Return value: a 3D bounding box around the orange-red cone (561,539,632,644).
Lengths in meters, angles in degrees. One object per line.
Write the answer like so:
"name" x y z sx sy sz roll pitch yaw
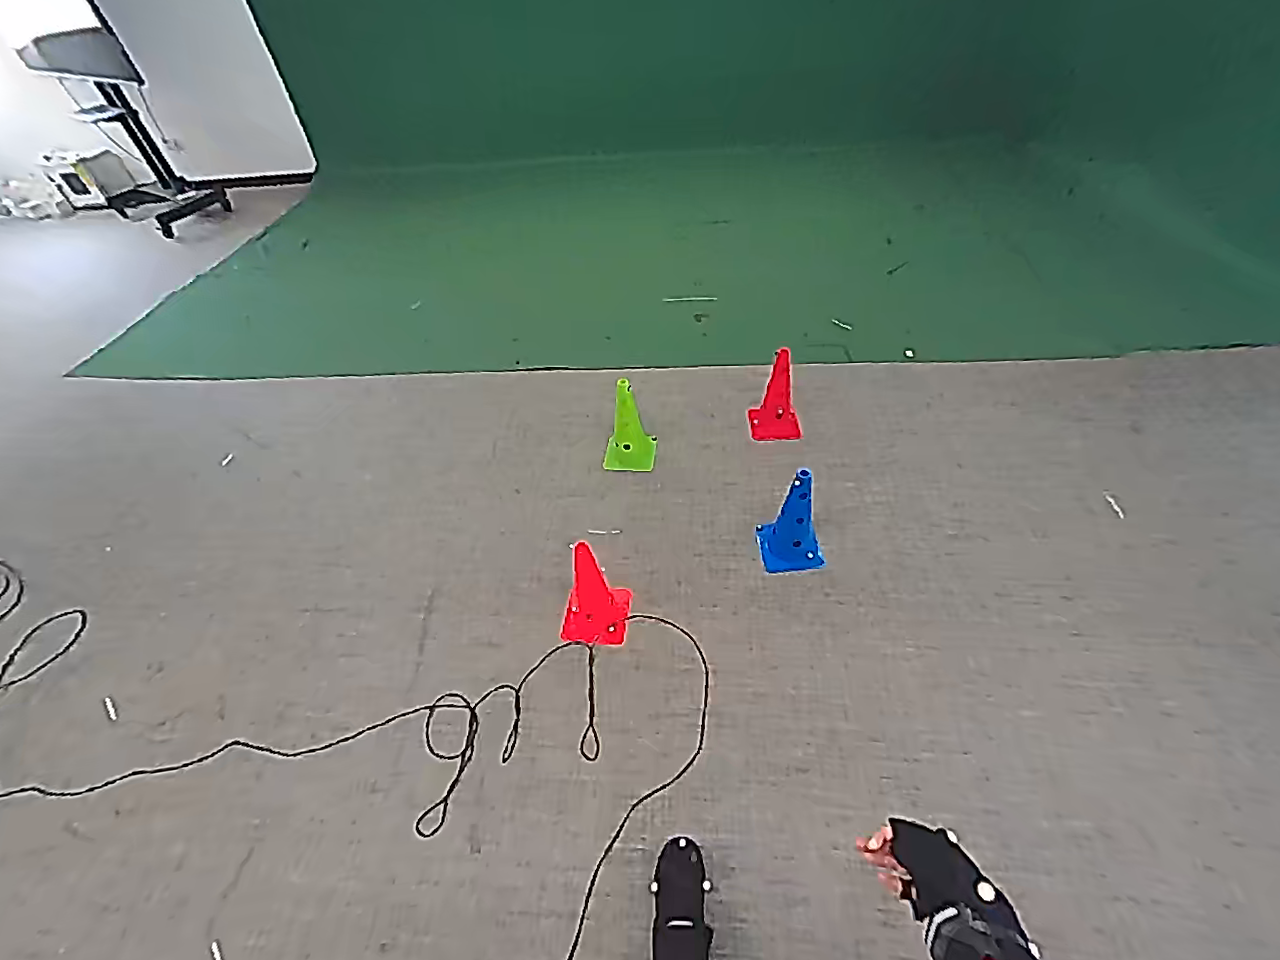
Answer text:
"orange-red cone" -0.143 0.294 1.570 0.198 0.360 0.199 4 45 8

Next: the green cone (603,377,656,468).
"green cone" -0.055 -0.237 2.066 0.200 0.368 0.202 1 47 7
